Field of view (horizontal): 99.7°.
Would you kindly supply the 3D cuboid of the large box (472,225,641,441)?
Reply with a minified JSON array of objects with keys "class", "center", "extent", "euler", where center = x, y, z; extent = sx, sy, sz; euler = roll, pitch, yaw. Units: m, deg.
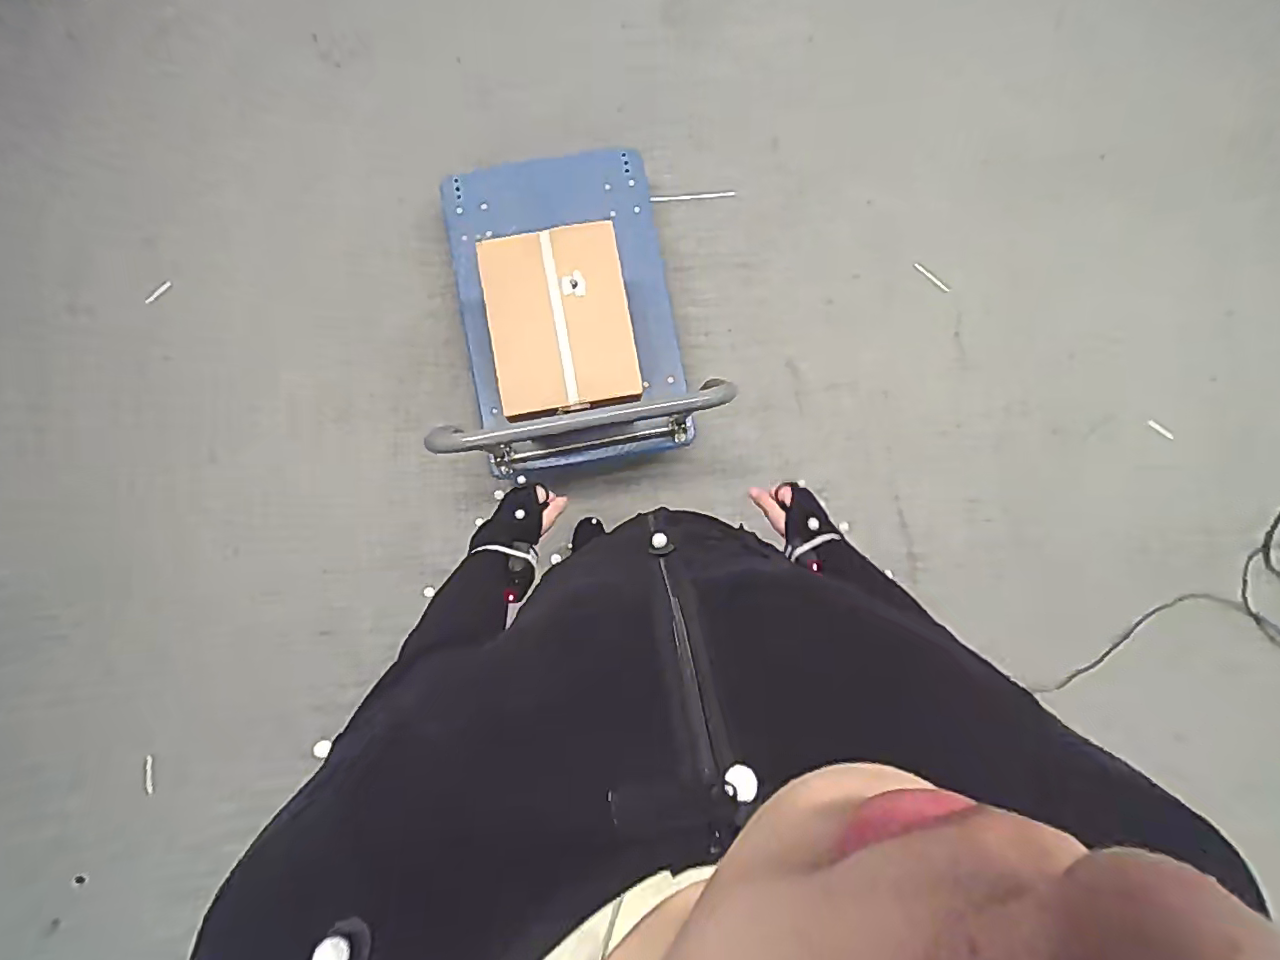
[{"class":"large box","center":[-0.189,-0.341,1.344],"extent":[0.320,0.320,0.408],"euler":[-11,85,-4]}]
